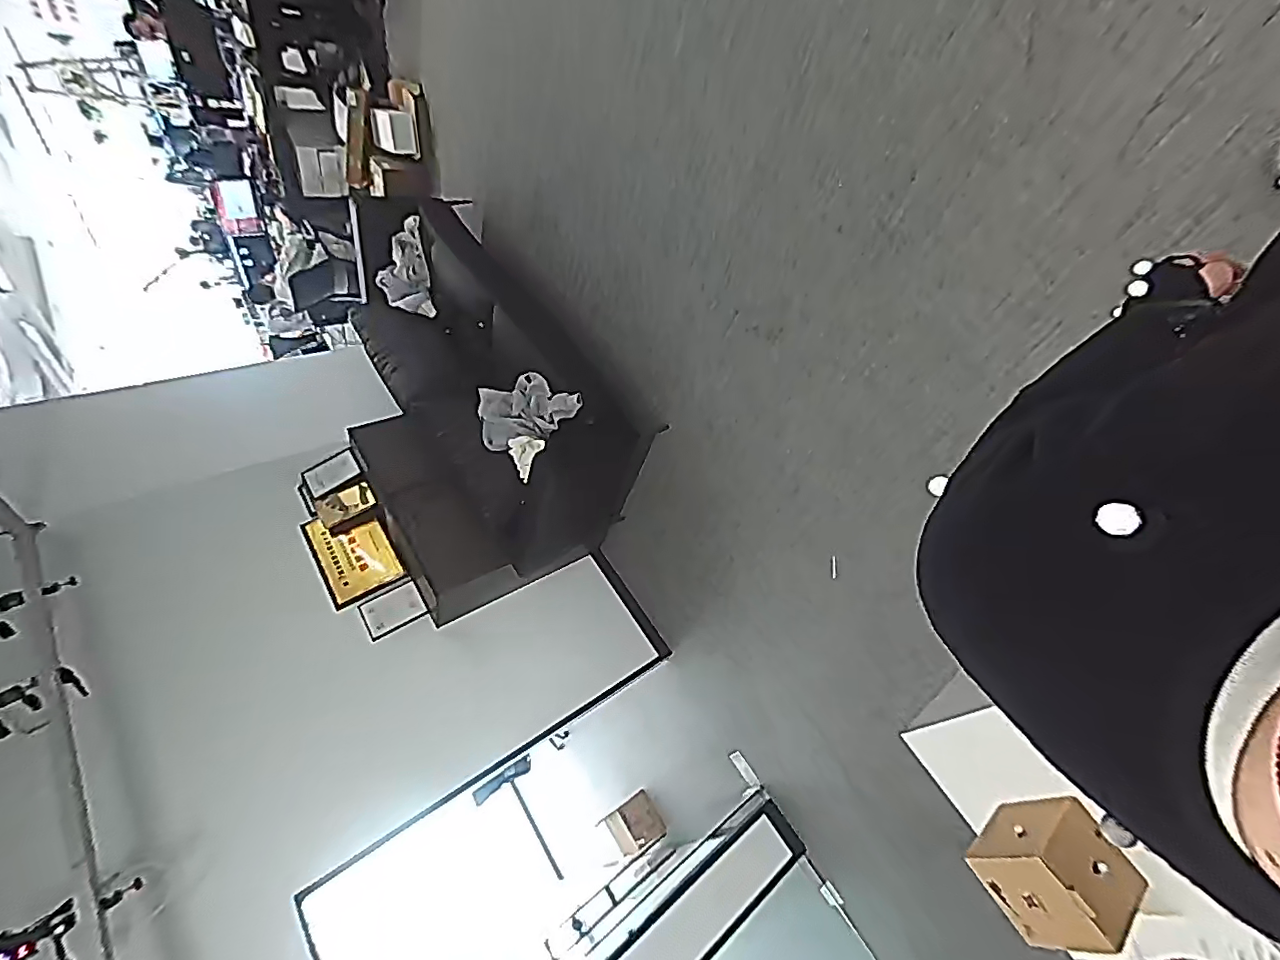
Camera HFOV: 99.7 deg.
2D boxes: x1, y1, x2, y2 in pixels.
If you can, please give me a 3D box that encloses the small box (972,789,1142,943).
[{"bbox_3d":[0.778,0.708,1.006,0.168,0.176,0.179,52,145,22],"label":"small box"}]
